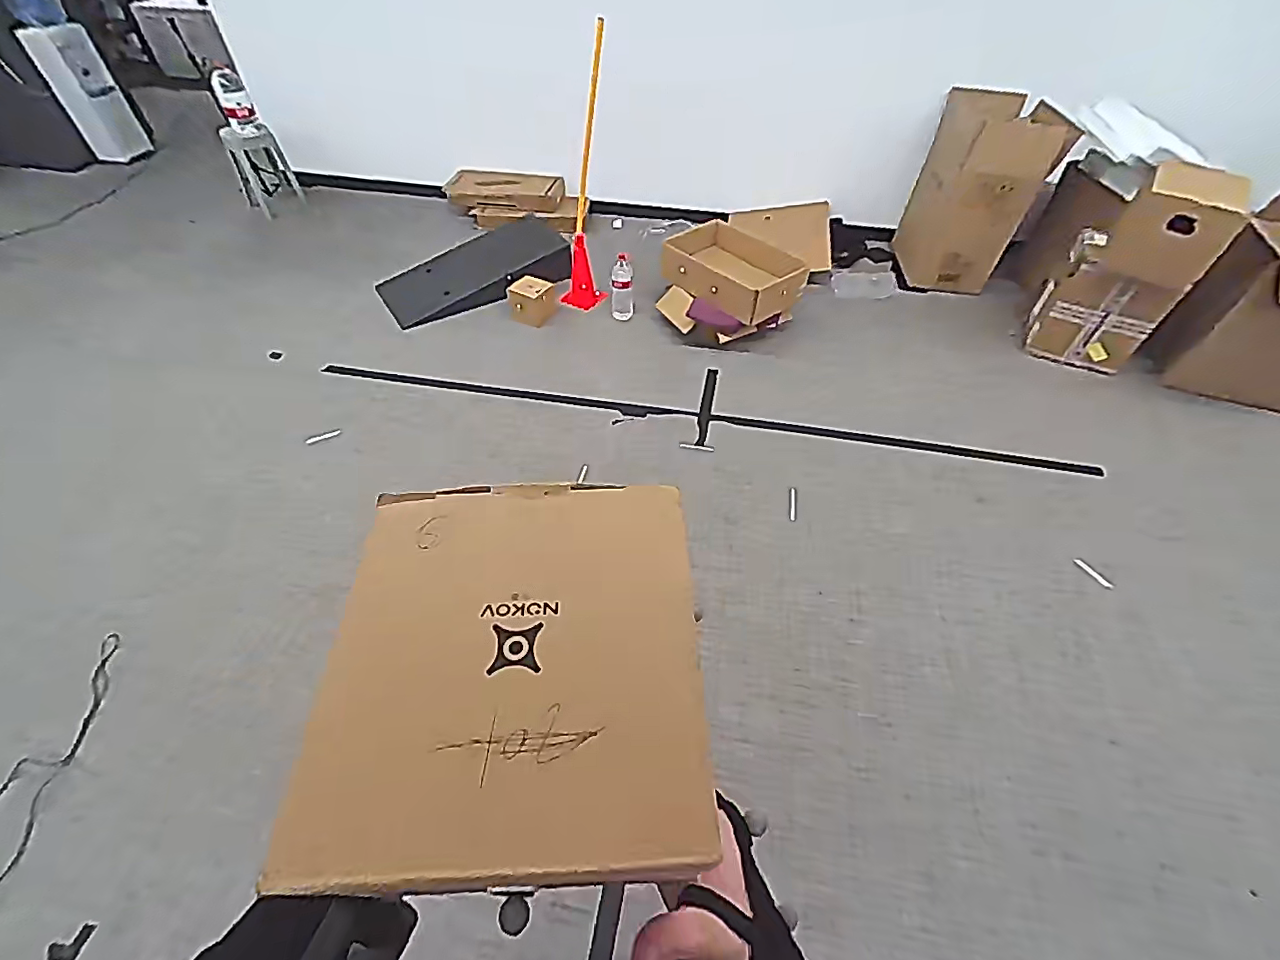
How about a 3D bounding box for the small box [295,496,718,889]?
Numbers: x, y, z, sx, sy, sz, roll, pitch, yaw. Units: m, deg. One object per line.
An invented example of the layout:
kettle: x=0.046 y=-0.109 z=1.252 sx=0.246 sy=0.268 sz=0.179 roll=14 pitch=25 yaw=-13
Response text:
small box: x=-0.055 y=0.128 z=0.320 sx=0.168 sy=0.176 sz=0.179 roll=-2 pitch=53 yaw=-2
